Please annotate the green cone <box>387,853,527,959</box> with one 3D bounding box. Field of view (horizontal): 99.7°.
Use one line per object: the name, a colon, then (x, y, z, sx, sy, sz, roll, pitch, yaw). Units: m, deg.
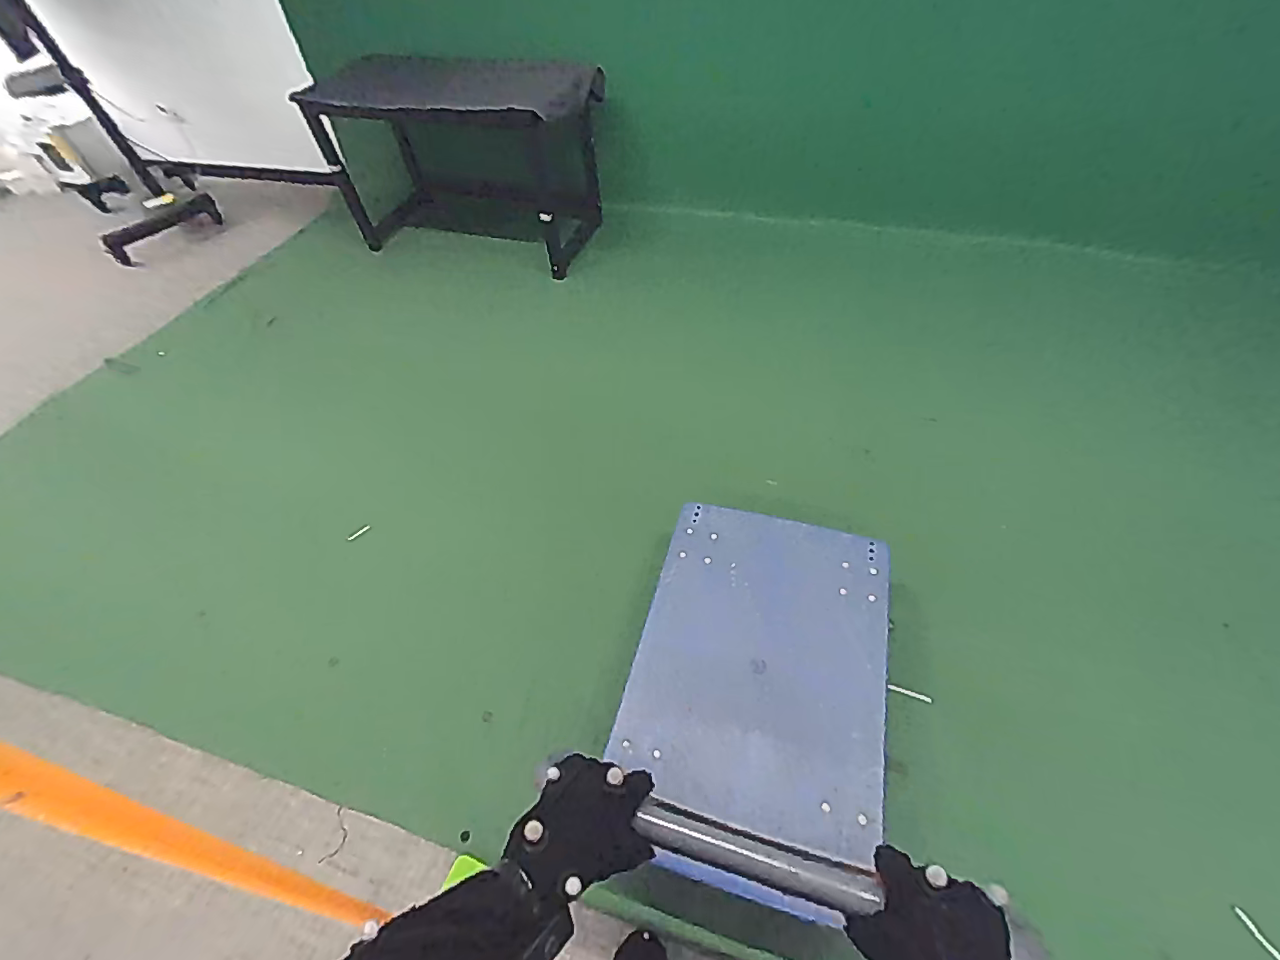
green cone: (-0.374, 0.827, 1.014, 0.202, 0.368, 0.200, 15, 53, 17)
